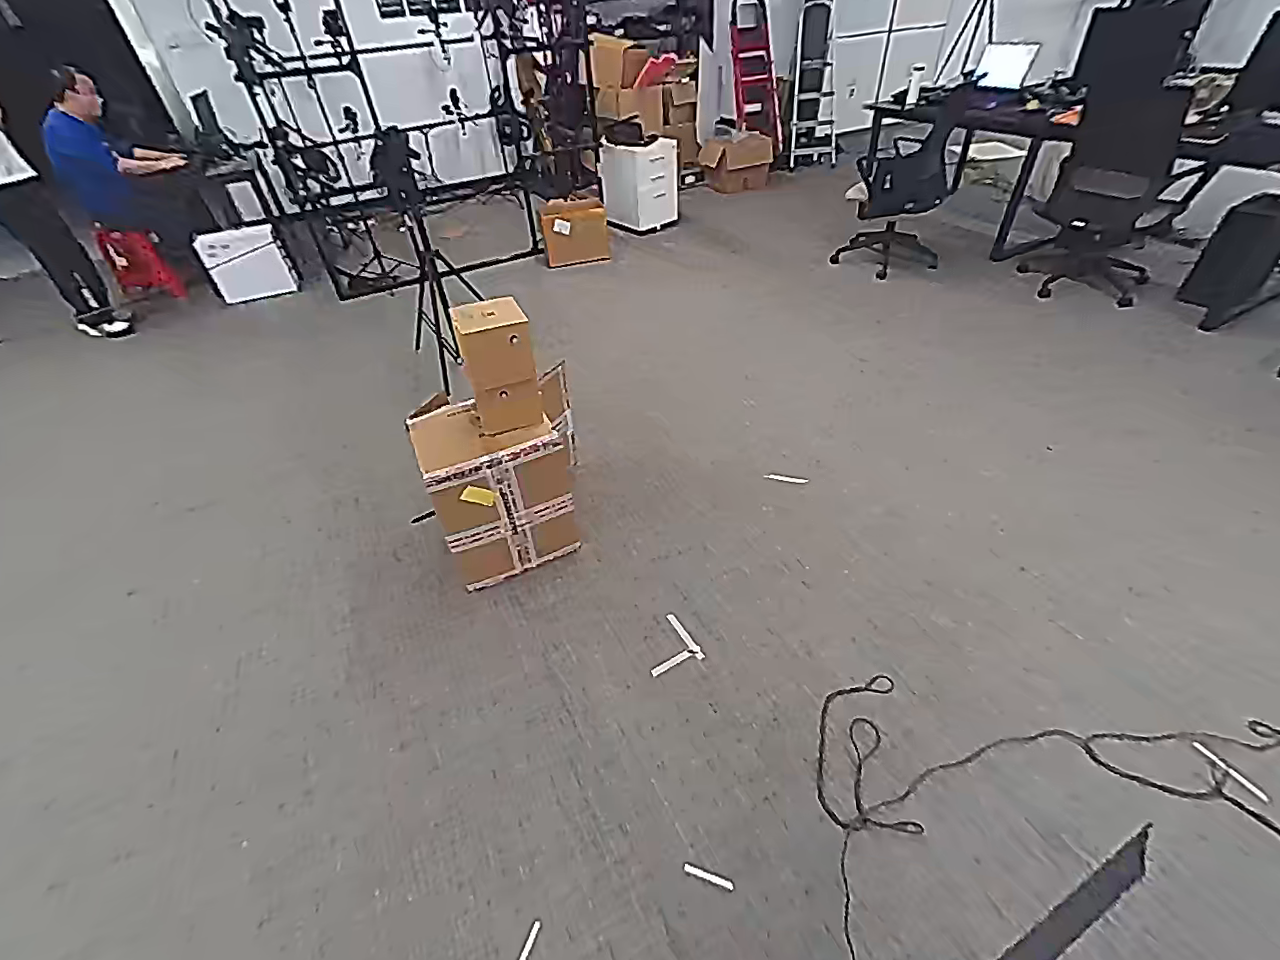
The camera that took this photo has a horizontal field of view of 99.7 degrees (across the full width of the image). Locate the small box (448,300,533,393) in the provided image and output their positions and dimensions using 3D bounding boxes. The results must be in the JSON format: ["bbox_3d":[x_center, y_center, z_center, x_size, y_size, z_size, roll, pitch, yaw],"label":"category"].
[{"bbox_3d":[-0.395,-0.358,1.452,0.179,0.176,0.168,-18,45,-17],"label":"small box"}]

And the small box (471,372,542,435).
[{"bbox_3d":[-0.398,-0.252,1.581,0.179,0.176,0.168,-16,44,-16],"label":"small box"}]
